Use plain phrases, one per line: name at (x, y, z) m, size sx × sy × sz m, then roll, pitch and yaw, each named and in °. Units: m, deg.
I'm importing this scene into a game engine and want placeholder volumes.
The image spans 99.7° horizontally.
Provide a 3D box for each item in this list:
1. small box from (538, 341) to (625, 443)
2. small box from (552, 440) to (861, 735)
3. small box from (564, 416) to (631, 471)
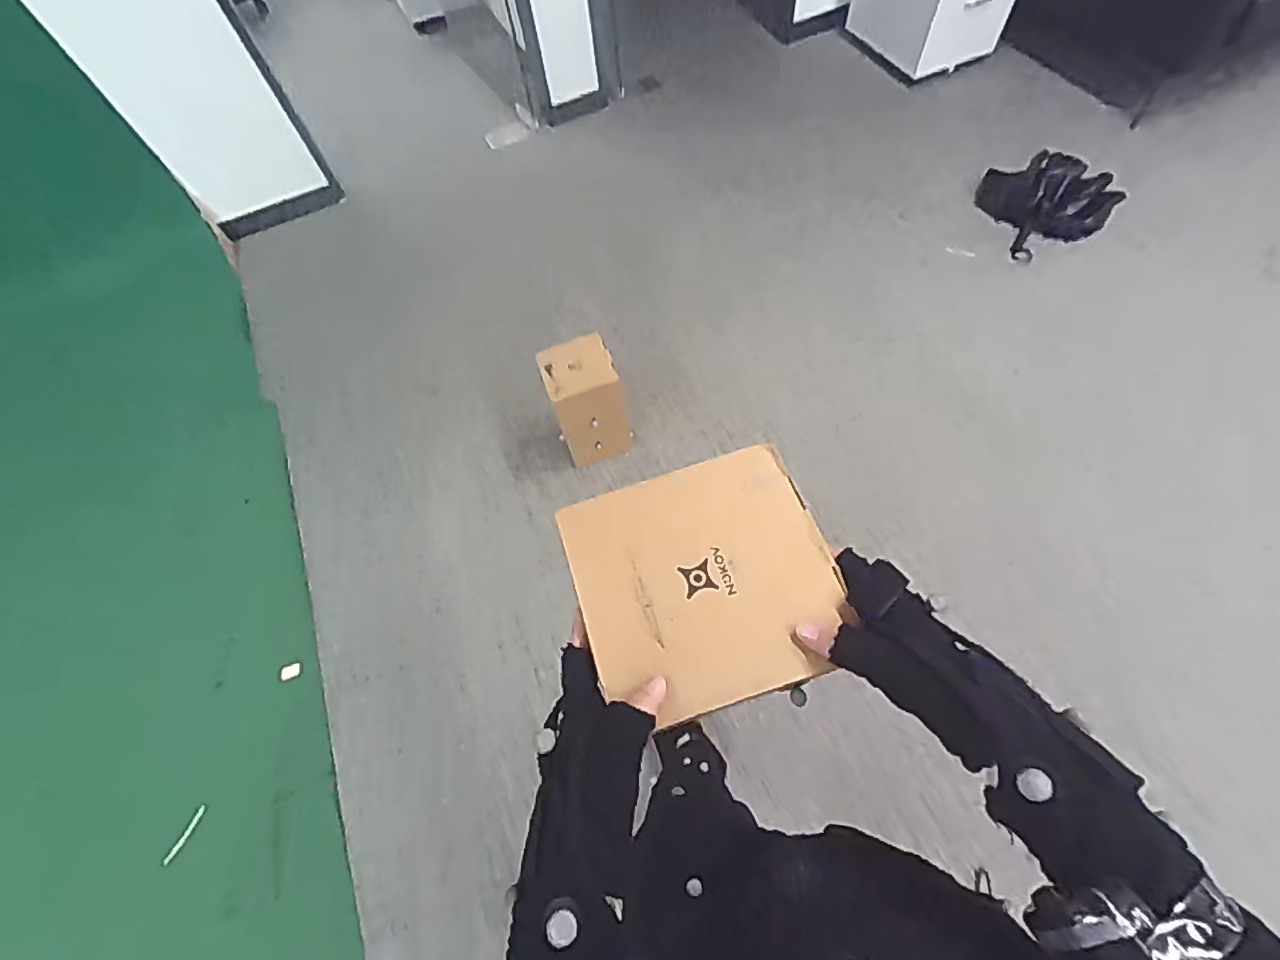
small box at (-0.145, -0.224, 1.410) m, size 0.179 × 0.176 × 0.168 m, roll -22°, pitch 64°, yaw -5°
small box at (0.046, 0.097, 0.451) m, size 0.179 × 0.176 × 0.168 m, roll -20°, pitch 64°, yaw -2°
small box at (-0.131, -0.152, 1.553) m, size 0.179 × 0.176 × 0.168 m, roll -20°, pitch 62°, yaw -4°
